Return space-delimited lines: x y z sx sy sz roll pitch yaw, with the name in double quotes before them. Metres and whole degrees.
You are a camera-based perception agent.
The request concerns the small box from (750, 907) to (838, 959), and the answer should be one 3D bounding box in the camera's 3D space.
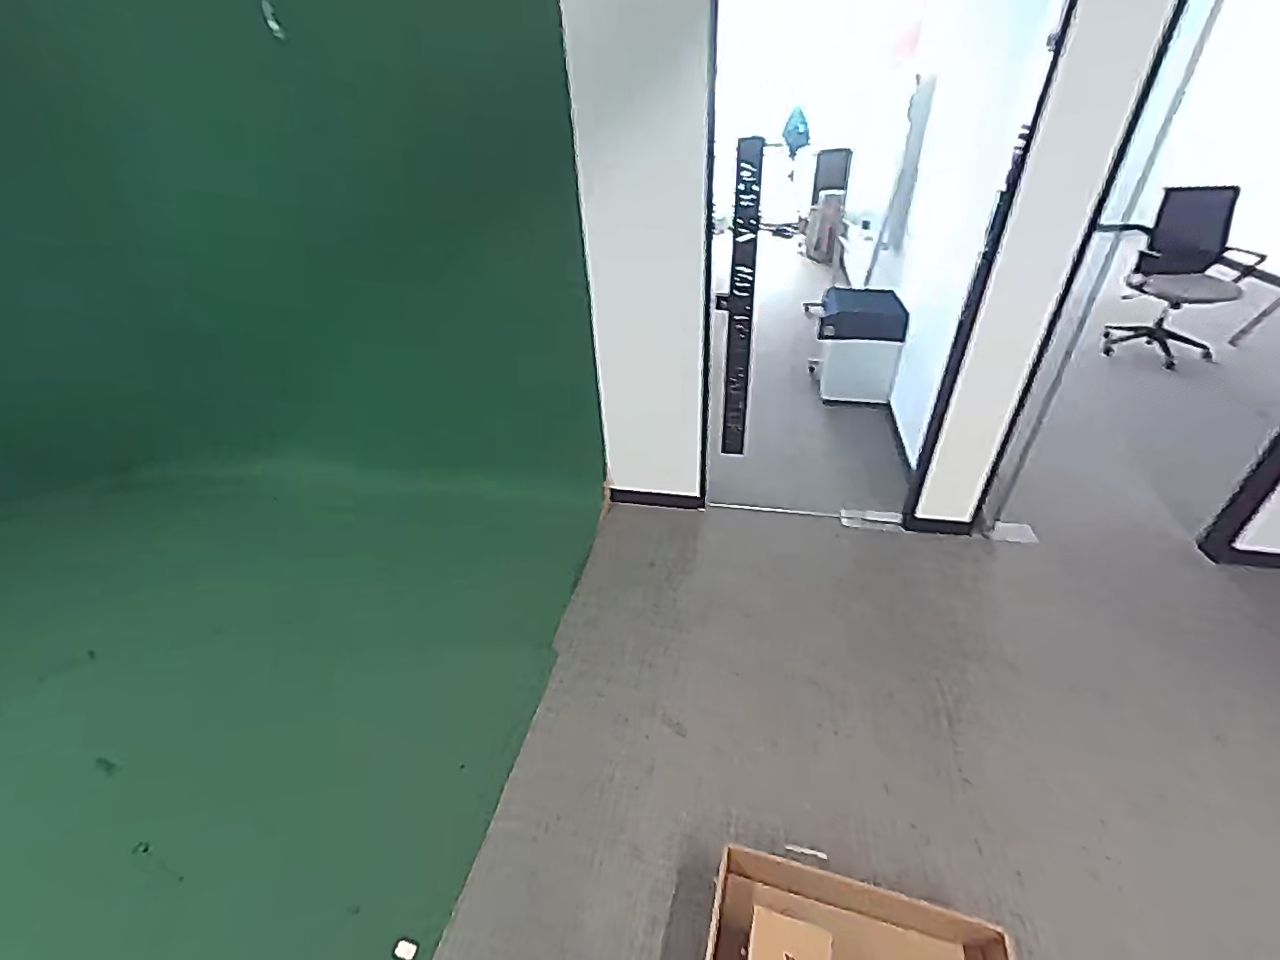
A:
"small box" 0.316 1.059 1.138 0.168 0.176 0.179 8 35 16
